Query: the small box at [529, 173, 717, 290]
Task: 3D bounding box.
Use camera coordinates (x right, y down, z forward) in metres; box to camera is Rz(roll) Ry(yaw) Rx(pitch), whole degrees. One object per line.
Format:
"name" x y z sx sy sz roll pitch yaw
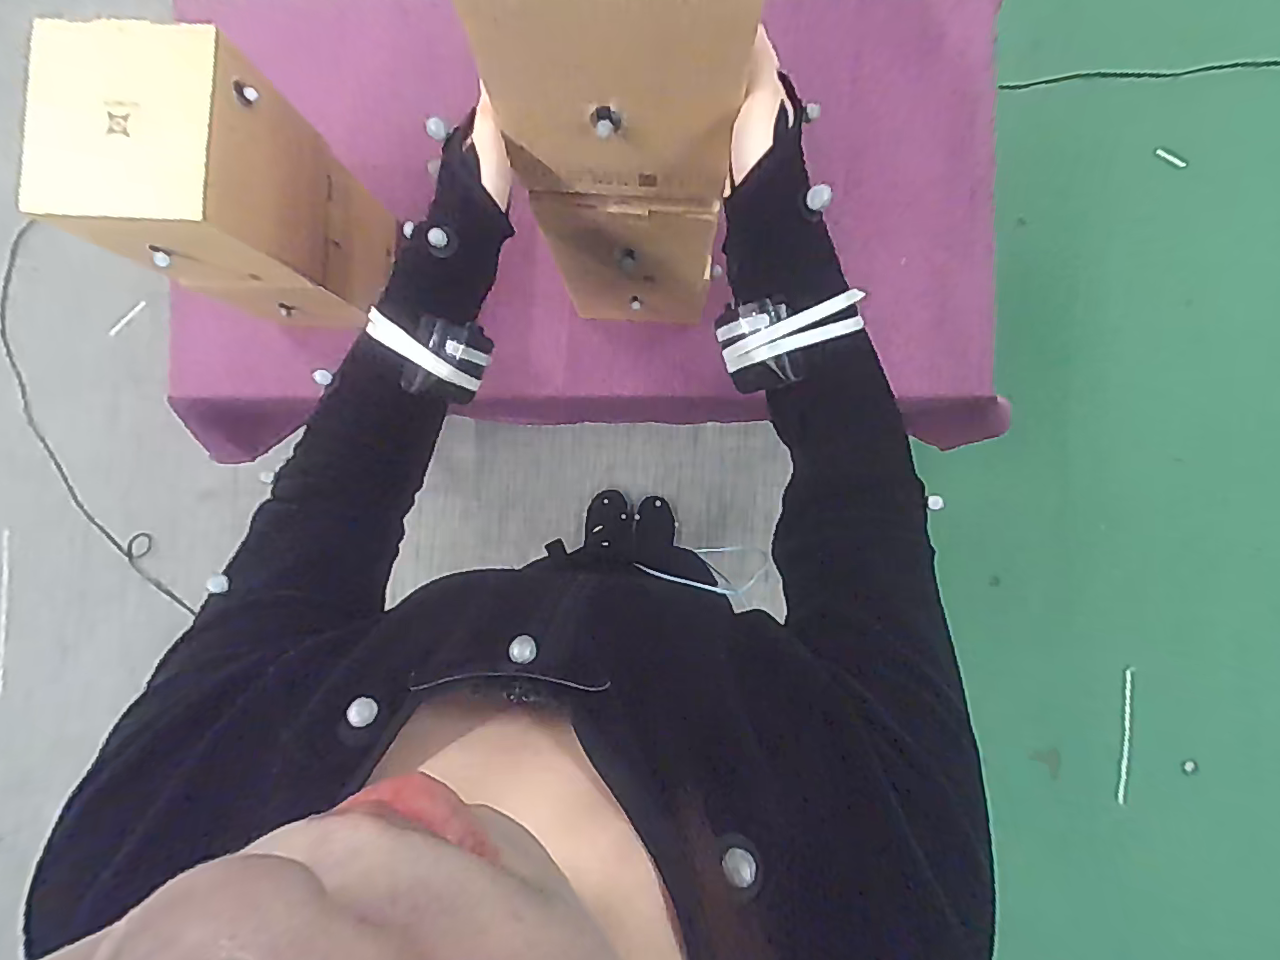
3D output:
"small box" -0.003 -0.308 0.544 0.168 0.176 0.179 7 90 1

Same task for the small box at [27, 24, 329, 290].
"small box" -0.449 -0.310 0.553 0.168 0.176 0.179 3 88 1

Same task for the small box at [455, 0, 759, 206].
"small box" -0.008 -0.319 0.371 0.168 0.176 0.179 5 83 1

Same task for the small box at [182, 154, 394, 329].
"small box" -0.448 -0.305 0.716 0.179 0.176 0.168 2 89 1
